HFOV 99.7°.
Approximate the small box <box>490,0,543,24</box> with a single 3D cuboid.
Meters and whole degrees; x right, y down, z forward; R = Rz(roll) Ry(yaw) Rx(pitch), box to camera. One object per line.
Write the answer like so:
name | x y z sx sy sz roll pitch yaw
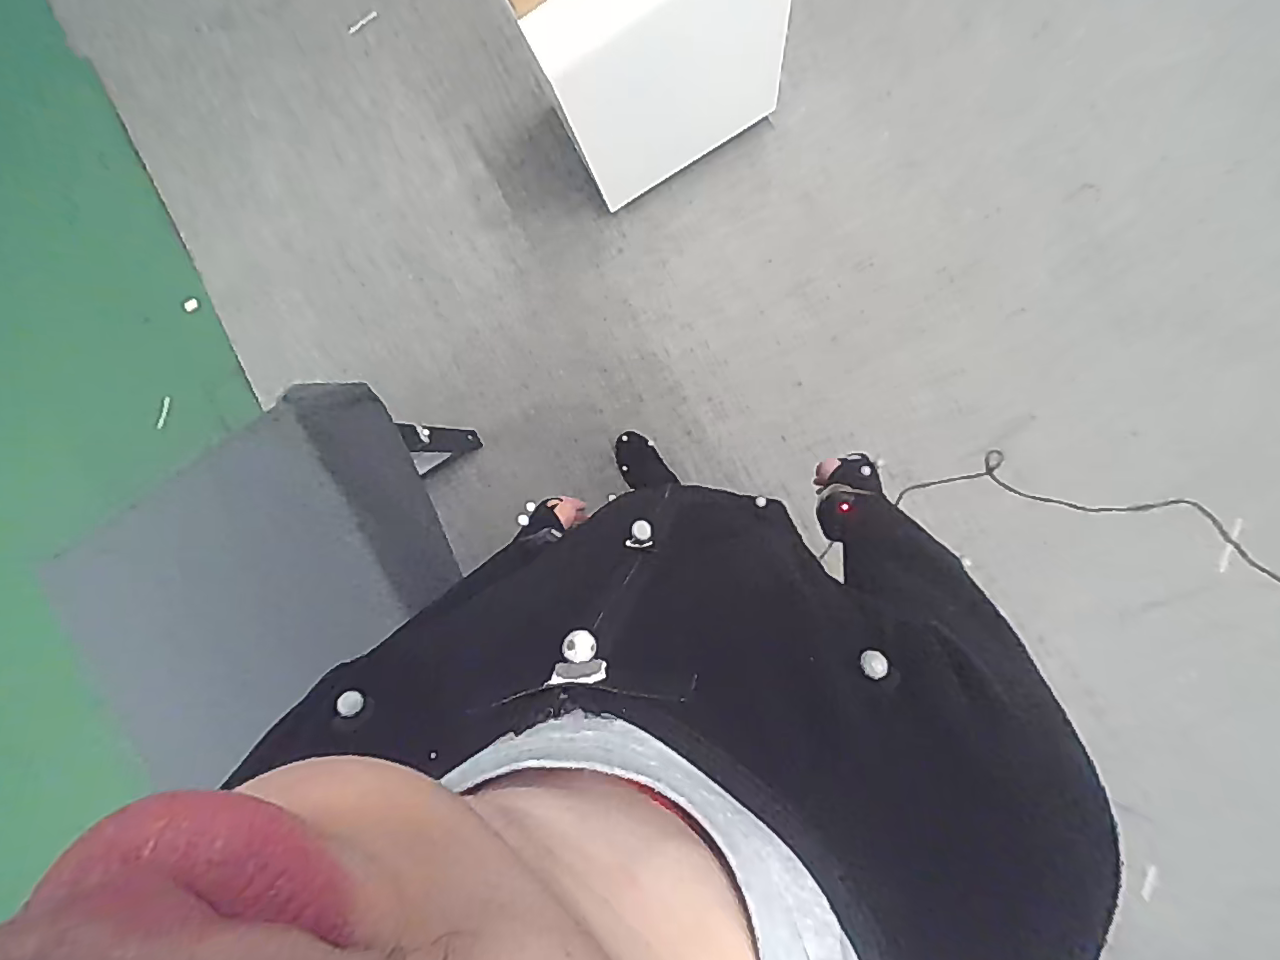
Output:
small box | -0.210 -0.907 0.866 0.179 0.176 0.168 -32 86 7
